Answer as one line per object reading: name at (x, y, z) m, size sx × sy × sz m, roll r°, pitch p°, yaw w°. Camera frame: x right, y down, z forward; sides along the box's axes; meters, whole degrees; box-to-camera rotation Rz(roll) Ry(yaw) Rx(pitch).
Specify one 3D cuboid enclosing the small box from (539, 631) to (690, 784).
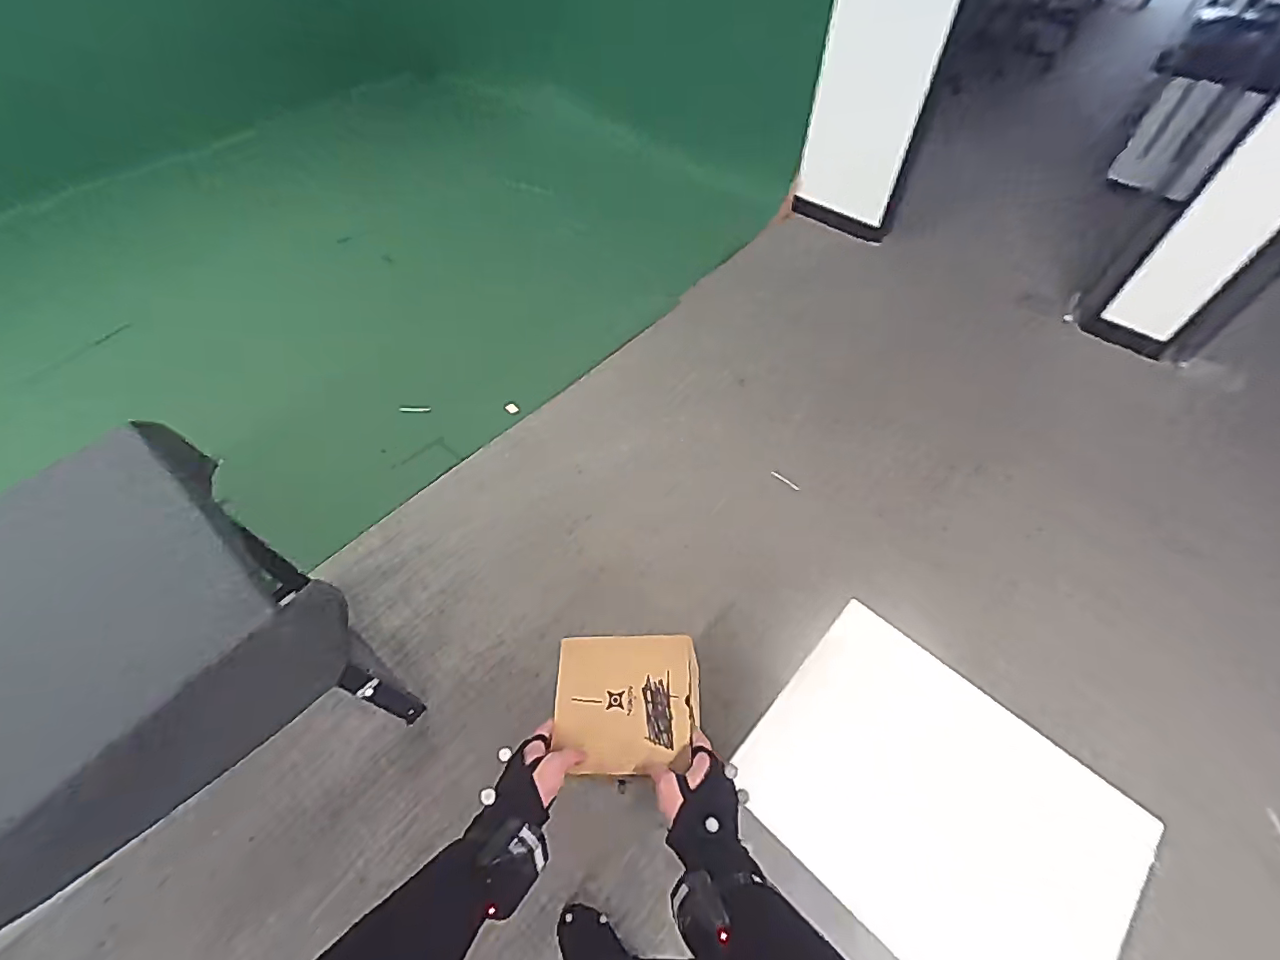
small box at (-0.021, 0.310, 0.731) m, size 0.179 × 0.176 × 0.168 m, roll -3°, pitch 57°, yaw 7°
